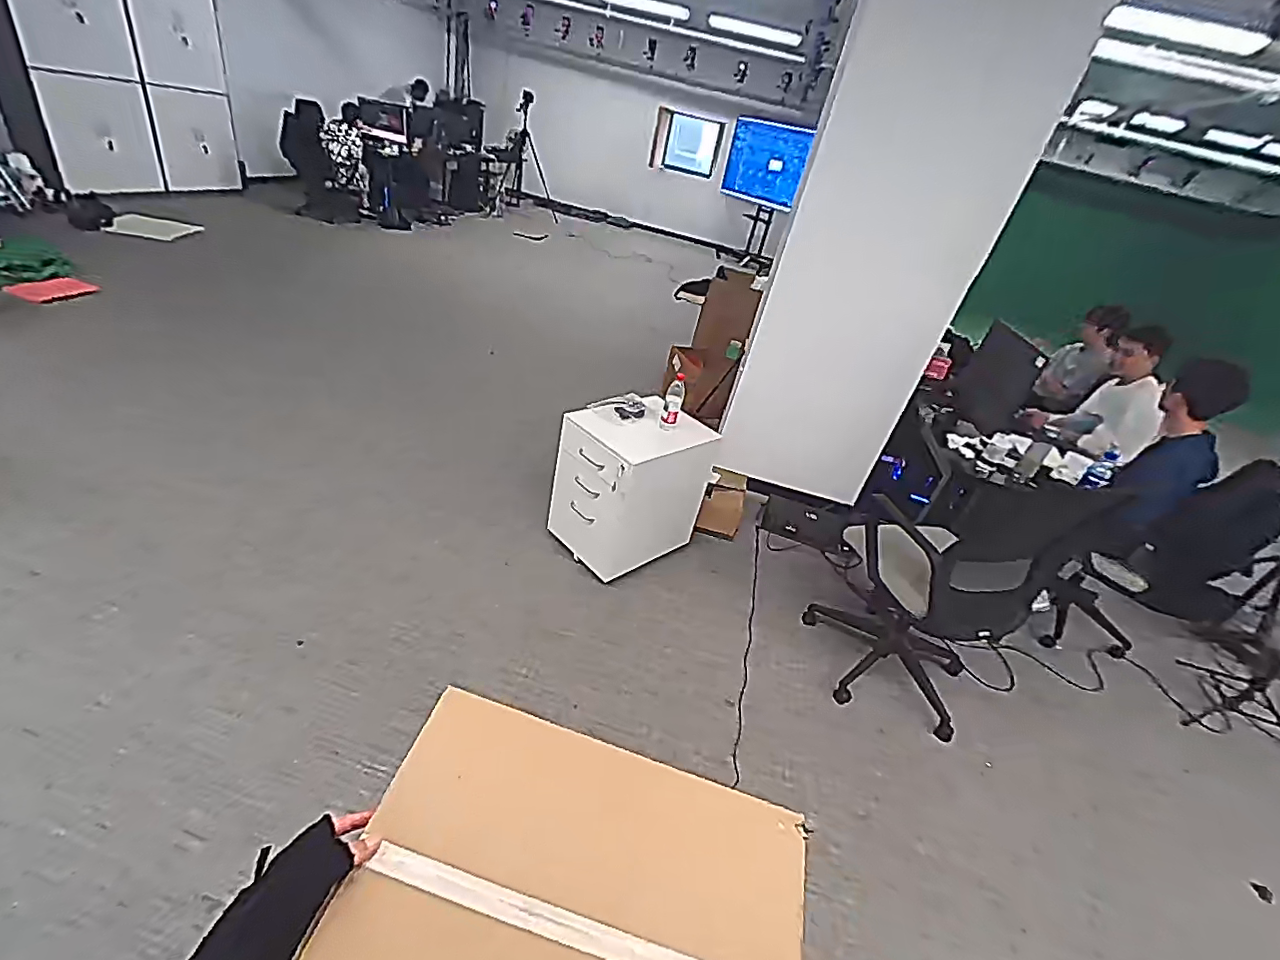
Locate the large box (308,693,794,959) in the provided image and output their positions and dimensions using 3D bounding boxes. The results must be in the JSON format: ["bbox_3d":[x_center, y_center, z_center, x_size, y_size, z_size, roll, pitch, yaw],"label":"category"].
[{"bbox_3d":[-0.090,0.497,0.580,0.408,0.320,0.320,19,43,3],"label":"large box"}]
